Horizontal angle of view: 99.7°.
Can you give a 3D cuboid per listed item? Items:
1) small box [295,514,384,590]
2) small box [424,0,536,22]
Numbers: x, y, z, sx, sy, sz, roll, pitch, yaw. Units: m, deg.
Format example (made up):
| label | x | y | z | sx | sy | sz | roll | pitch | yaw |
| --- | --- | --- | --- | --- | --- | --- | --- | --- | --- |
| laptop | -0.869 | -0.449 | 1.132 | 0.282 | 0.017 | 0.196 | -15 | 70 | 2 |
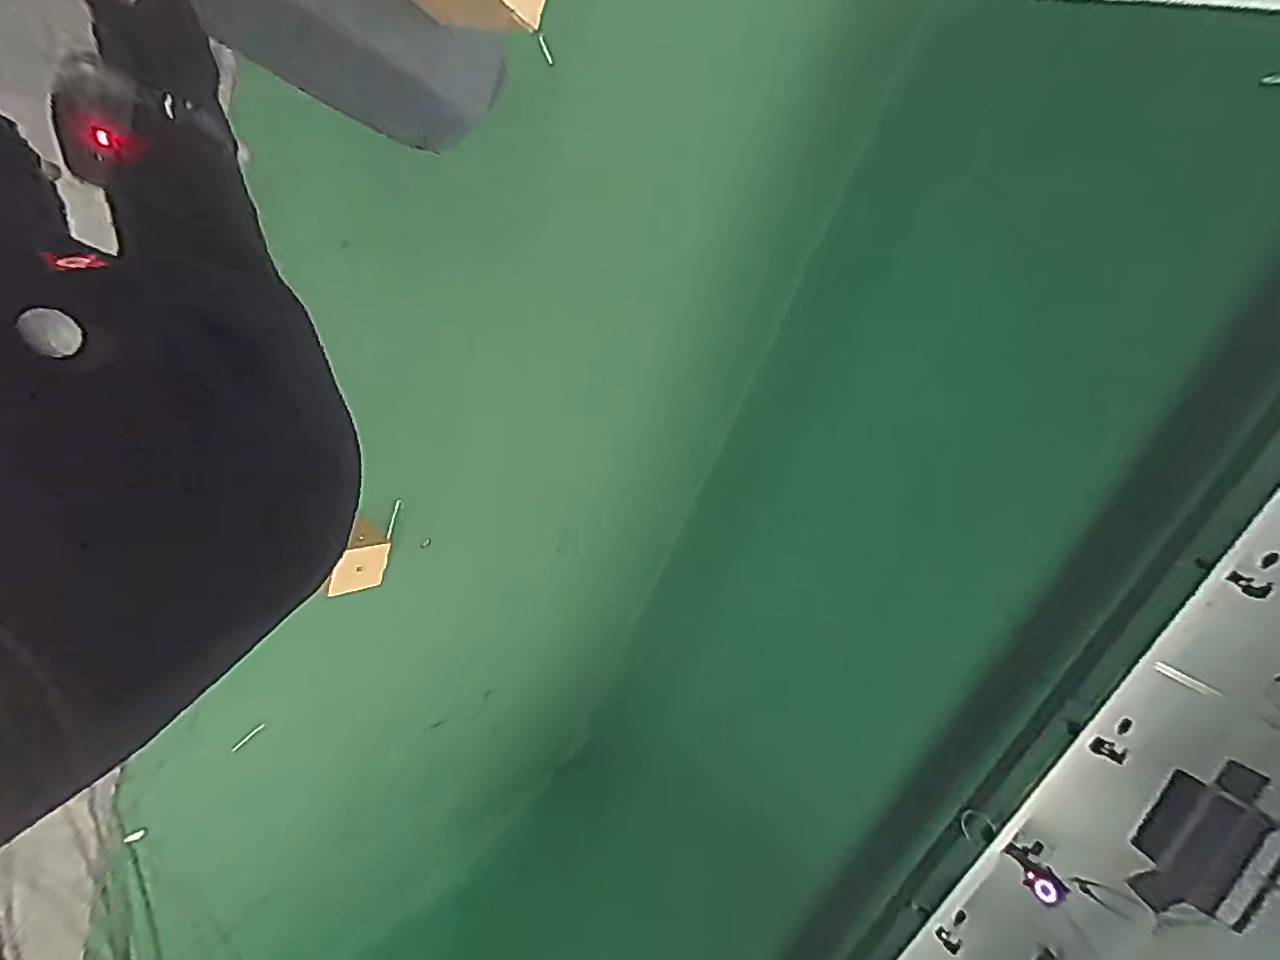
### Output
| label | x | y | z | sx | sy | sz | roll | pitch | yaw |
| --- | --- | --- | --- | --- | --- | --- | --- | --- | --- |
| small box | -0.954 | 0.219 | 1.714 | 0.179 | 0.176 | 0.168 | -7 | 123 | -57 |
| small box | -0.187 | -0.585 | 0.508 | 0.168 | 0.176 | 0.179 | -3 | 119 | -59 |
